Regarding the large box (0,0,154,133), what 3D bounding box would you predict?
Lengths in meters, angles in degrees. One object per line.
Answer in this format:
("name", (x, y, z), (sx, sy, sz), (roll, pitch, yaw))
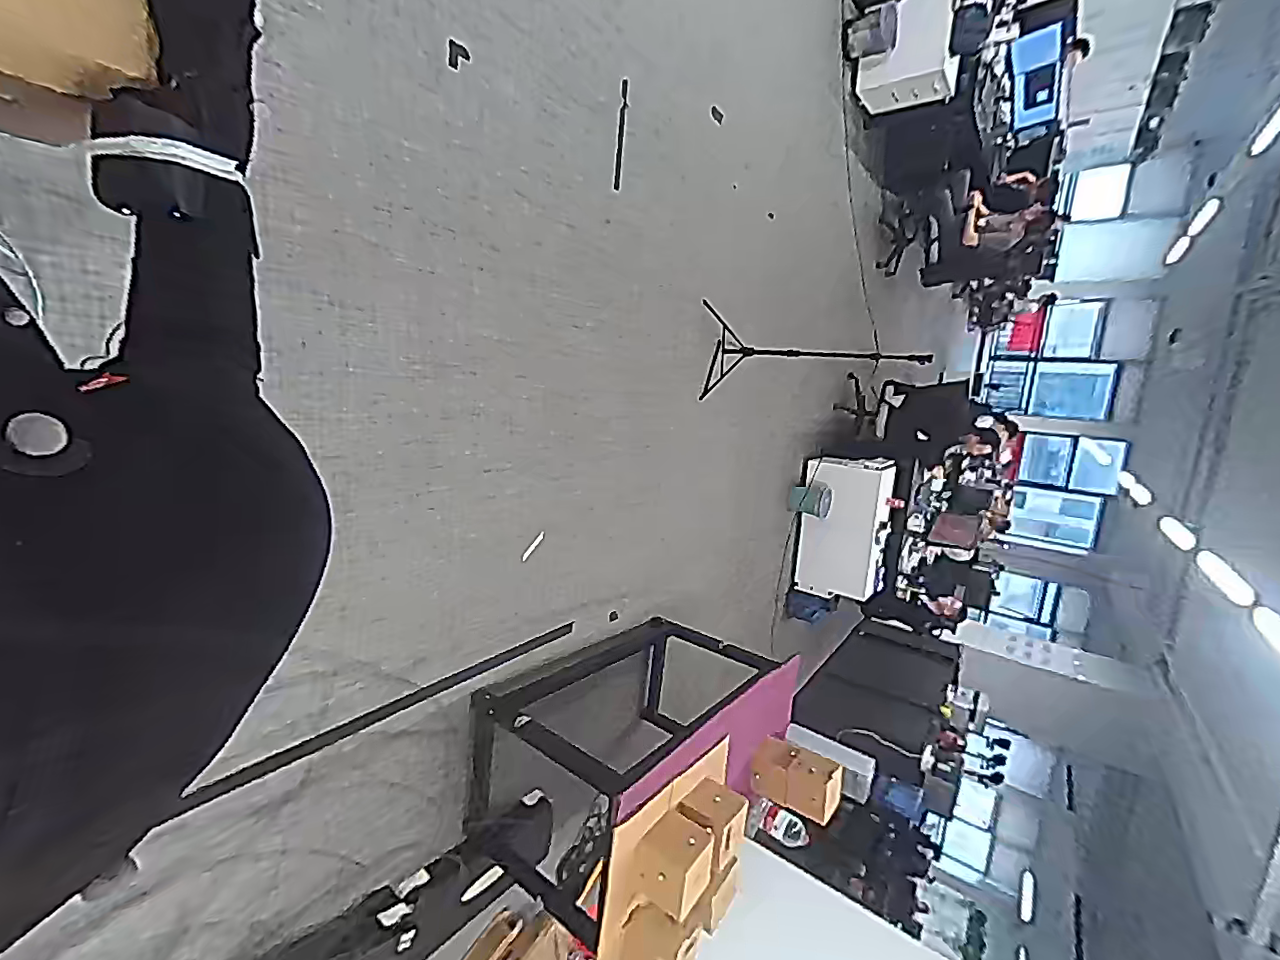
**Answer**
("large box", (-0.552, -0.431, 0.267), (0.408, 0.320, 0.320), (-7, 113, -55))
